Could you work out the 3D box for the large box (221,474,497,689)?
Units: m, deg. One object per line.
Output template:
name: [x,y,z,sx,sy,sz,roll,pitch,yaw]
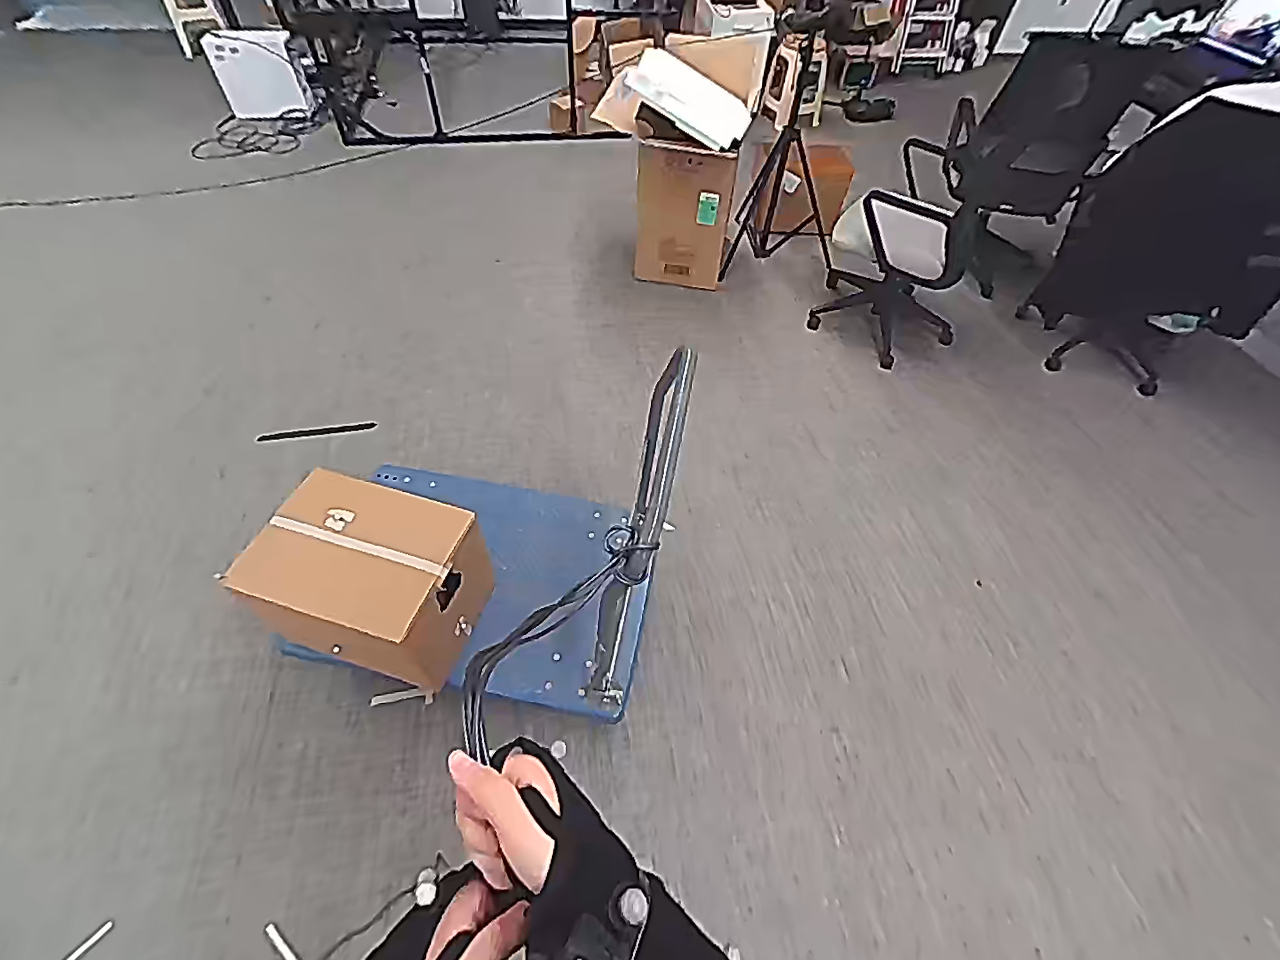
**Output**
large box: [-0.595,0.236,1.237,0.408,0.320,0.320,15,52,8]
